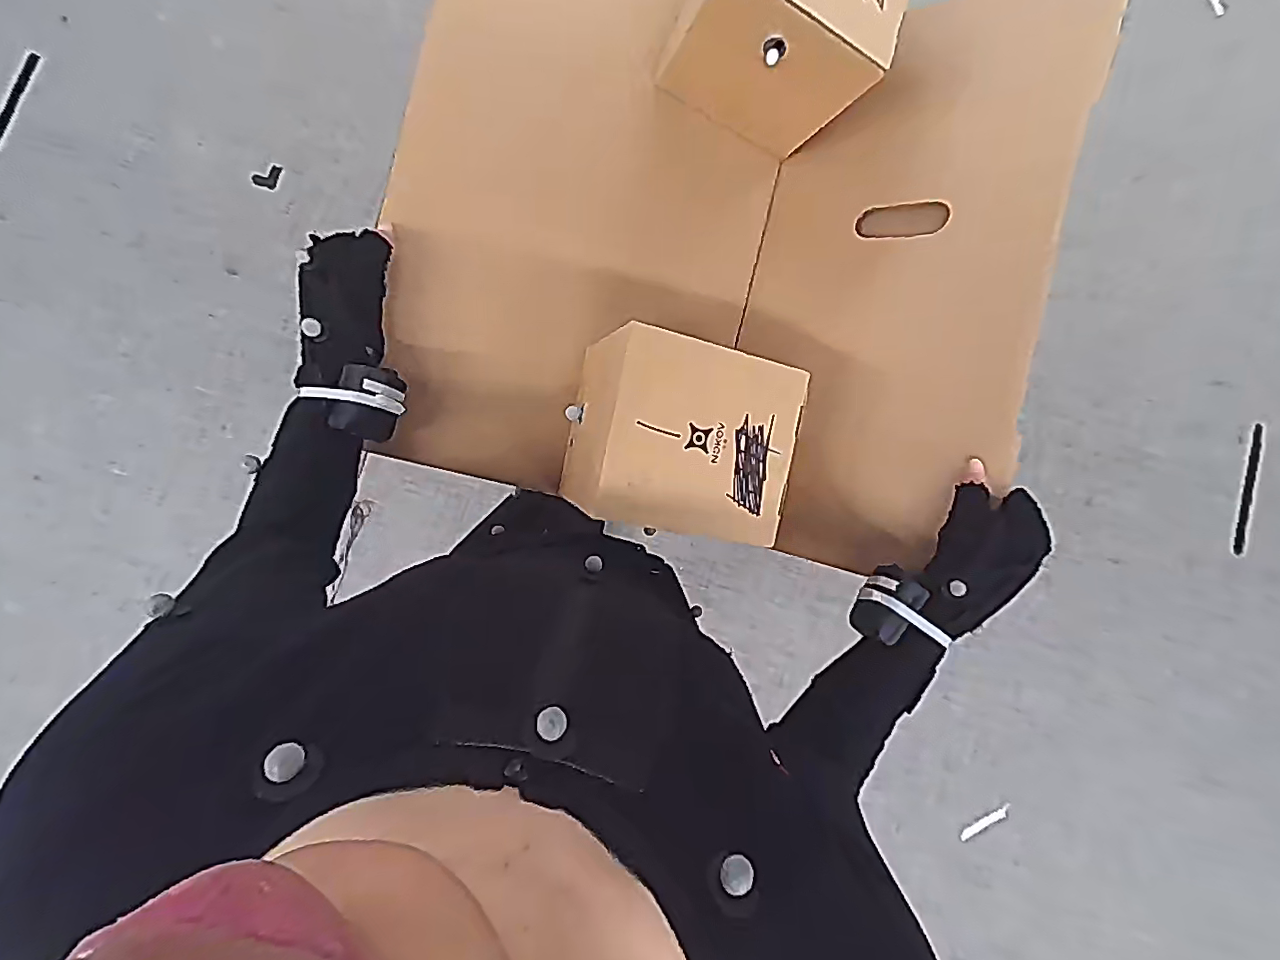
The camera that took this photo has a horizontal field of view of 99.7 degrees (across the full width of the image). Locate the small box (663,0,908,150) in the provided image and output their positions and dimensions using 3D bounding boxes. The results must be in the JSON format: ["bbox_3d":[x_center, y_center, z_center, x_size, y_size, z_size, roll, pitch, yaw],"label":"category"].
[{"bbox_3d":[0.144,-0.477,0.544,0.179,0.176,0.168,18,89,-20],"label":"small box"}]
